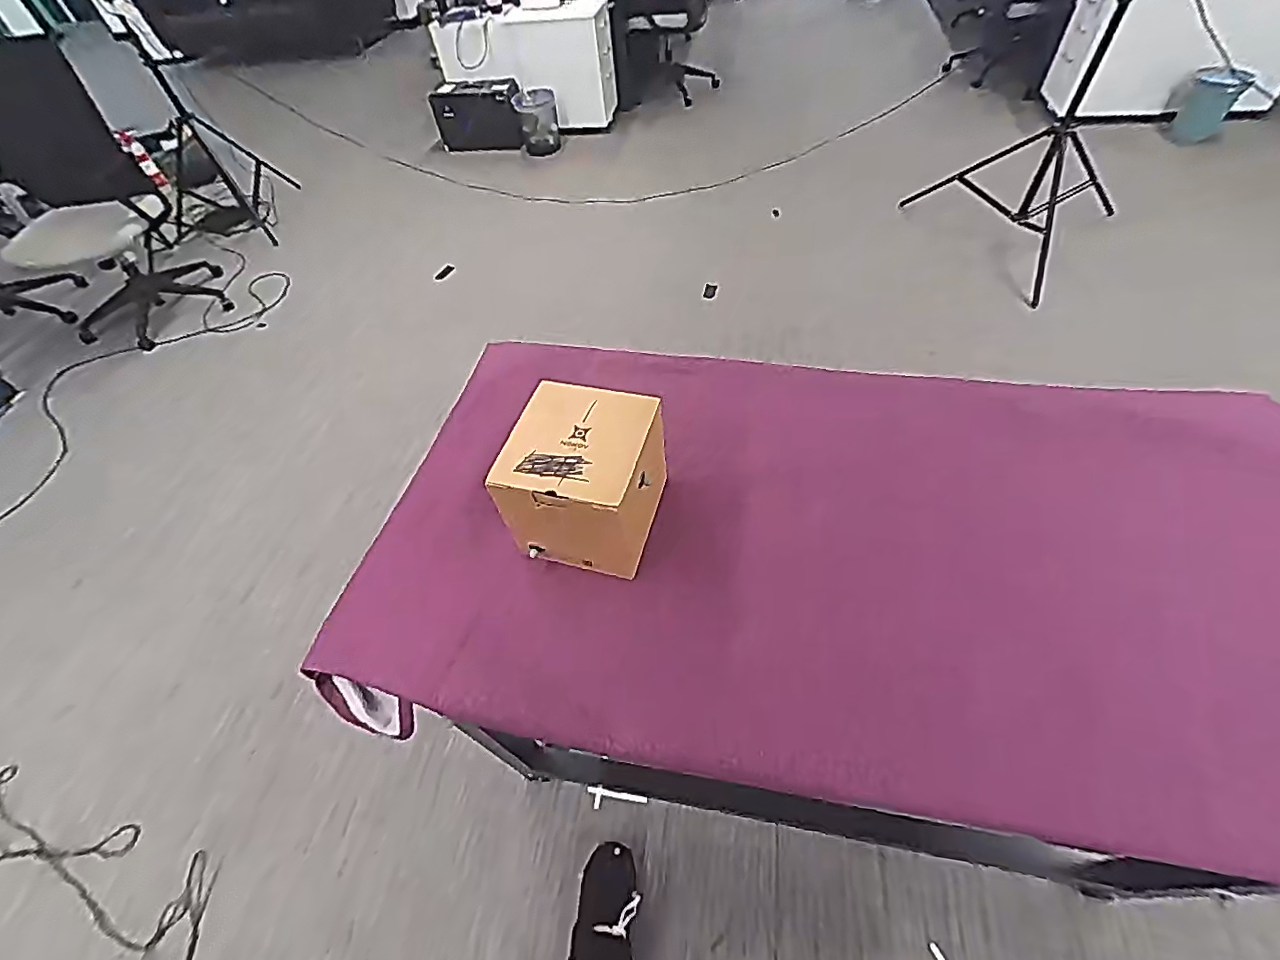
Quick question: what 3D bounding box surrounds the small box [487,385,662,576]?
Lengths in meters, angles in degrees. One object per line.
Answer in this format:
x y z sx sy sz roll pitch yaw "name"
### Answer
-0.070 0.004 0.713 0.168 0.176 0.179 11 54 13 "small box"
